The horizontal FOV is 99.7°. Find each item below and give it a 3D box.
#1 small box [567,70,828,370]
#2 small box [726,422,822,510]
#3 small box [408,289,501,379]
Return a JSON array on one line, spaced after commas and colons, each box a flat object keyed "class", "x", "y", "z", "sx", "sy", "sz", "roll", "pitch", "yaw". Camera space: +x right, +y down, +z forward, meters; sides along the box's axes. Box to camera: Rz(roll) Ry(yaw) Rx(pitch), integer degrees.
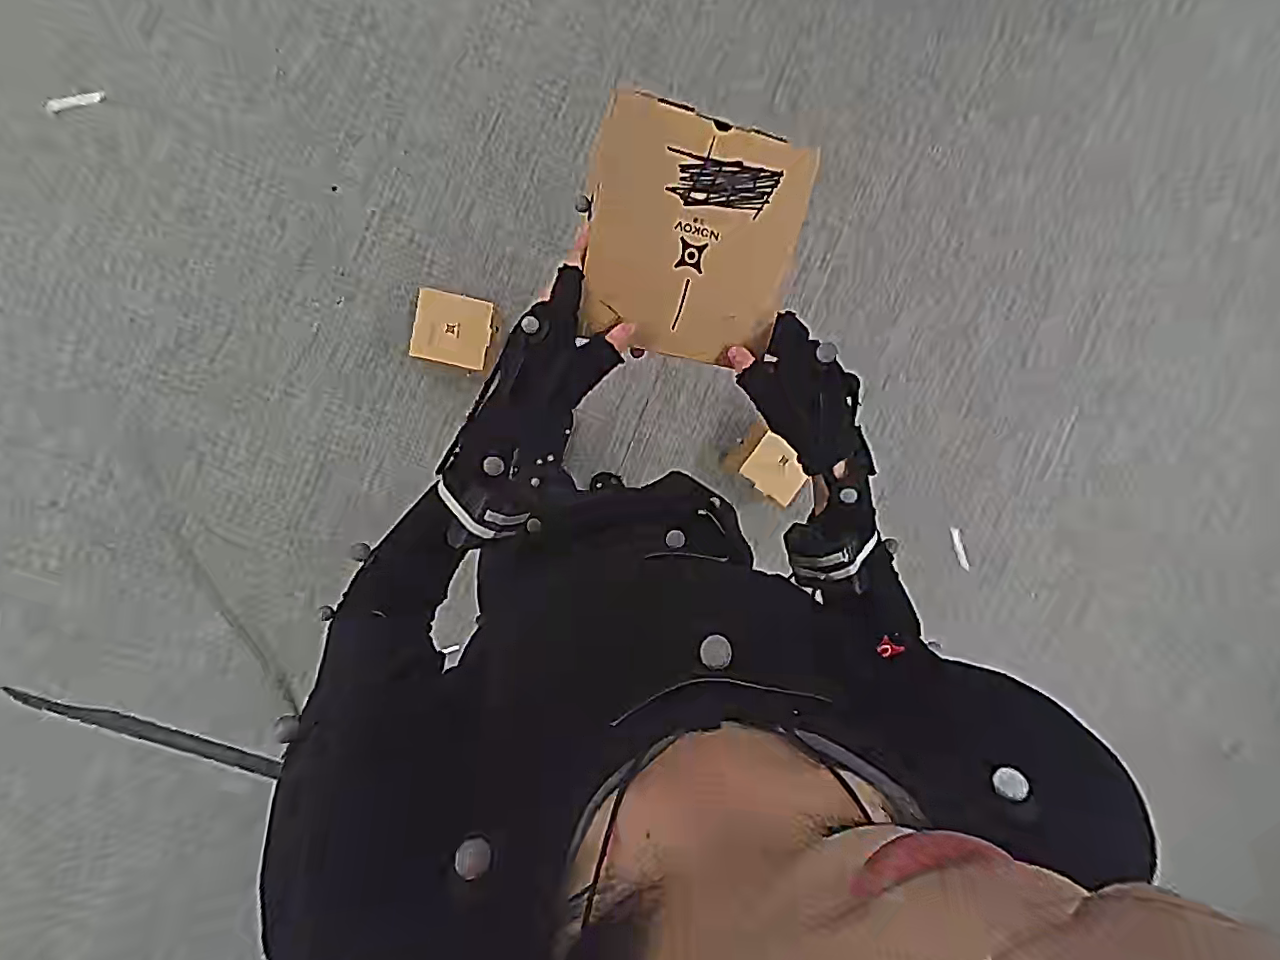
[{"class": "small box", "x": 0.030, "y": -0.210, "z": 0.479, "sx": 0.168, "sy": 0.176, "sz": 0.179, "roll": 9, "pitch": 109, "yaw": -13}, {"class": "small box", "x": 0.354, "y": -0.042, "z": 1.483, "sx": 0.168, "sy": 0.176, "sz": 0.179, "roll": 37, "pitch": 90, "yaw": -9}, {"class": "small box", "x": -0.453, "y": -0.355, "z": 1.349, "sx": 0.179, "sy": 0.176, "sz": 0.168, "roll": 11, "pitch": 91, "yaw": -8}]
